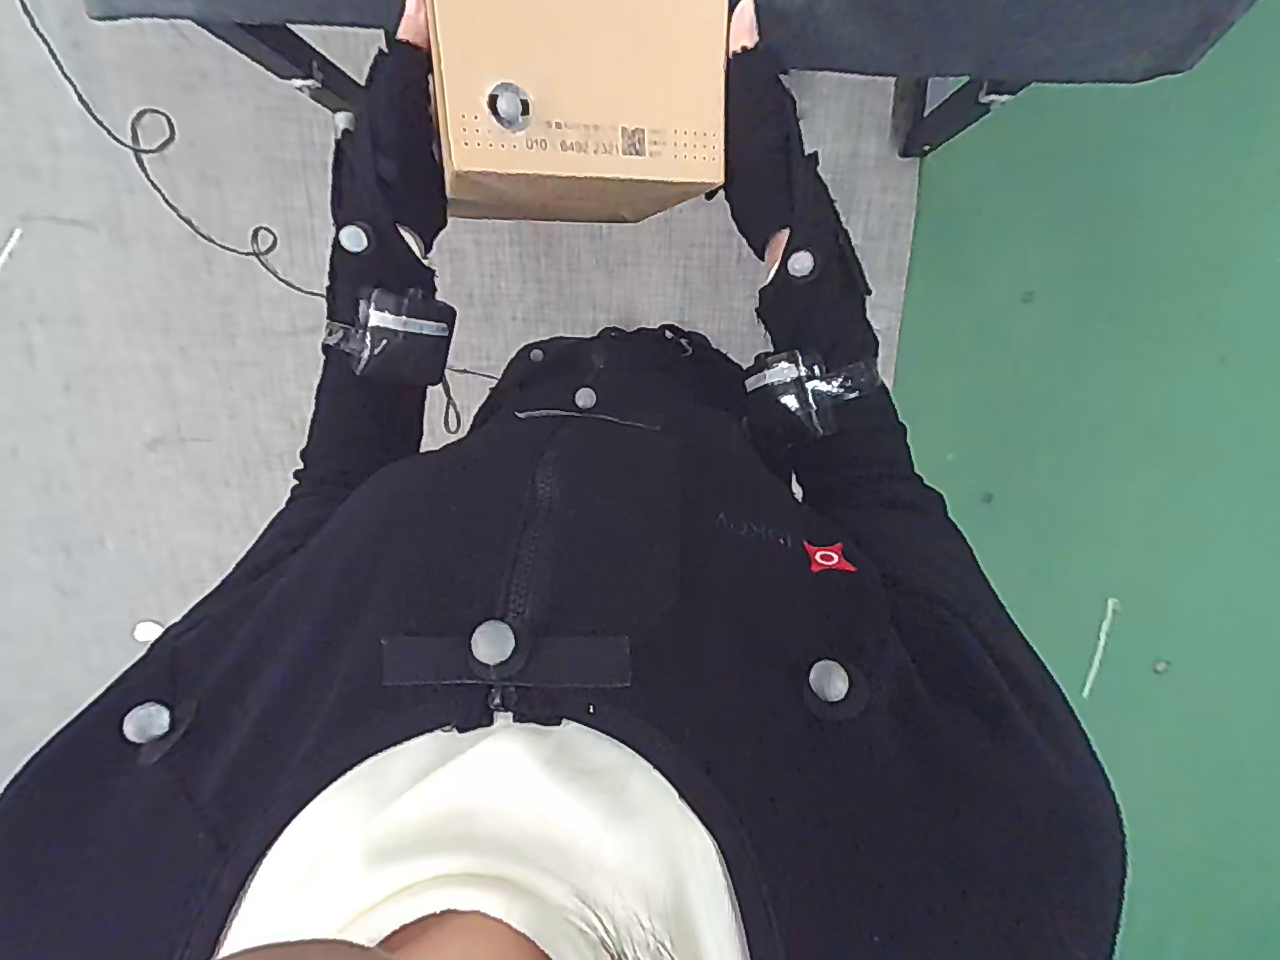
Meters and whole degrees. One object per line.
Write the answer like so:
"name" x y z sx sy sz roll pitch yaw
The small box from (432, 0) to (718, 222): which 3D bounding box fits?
"small box" -0.051 -0.286 0.378 0.168 0.179 0.176 -7 108 -18
